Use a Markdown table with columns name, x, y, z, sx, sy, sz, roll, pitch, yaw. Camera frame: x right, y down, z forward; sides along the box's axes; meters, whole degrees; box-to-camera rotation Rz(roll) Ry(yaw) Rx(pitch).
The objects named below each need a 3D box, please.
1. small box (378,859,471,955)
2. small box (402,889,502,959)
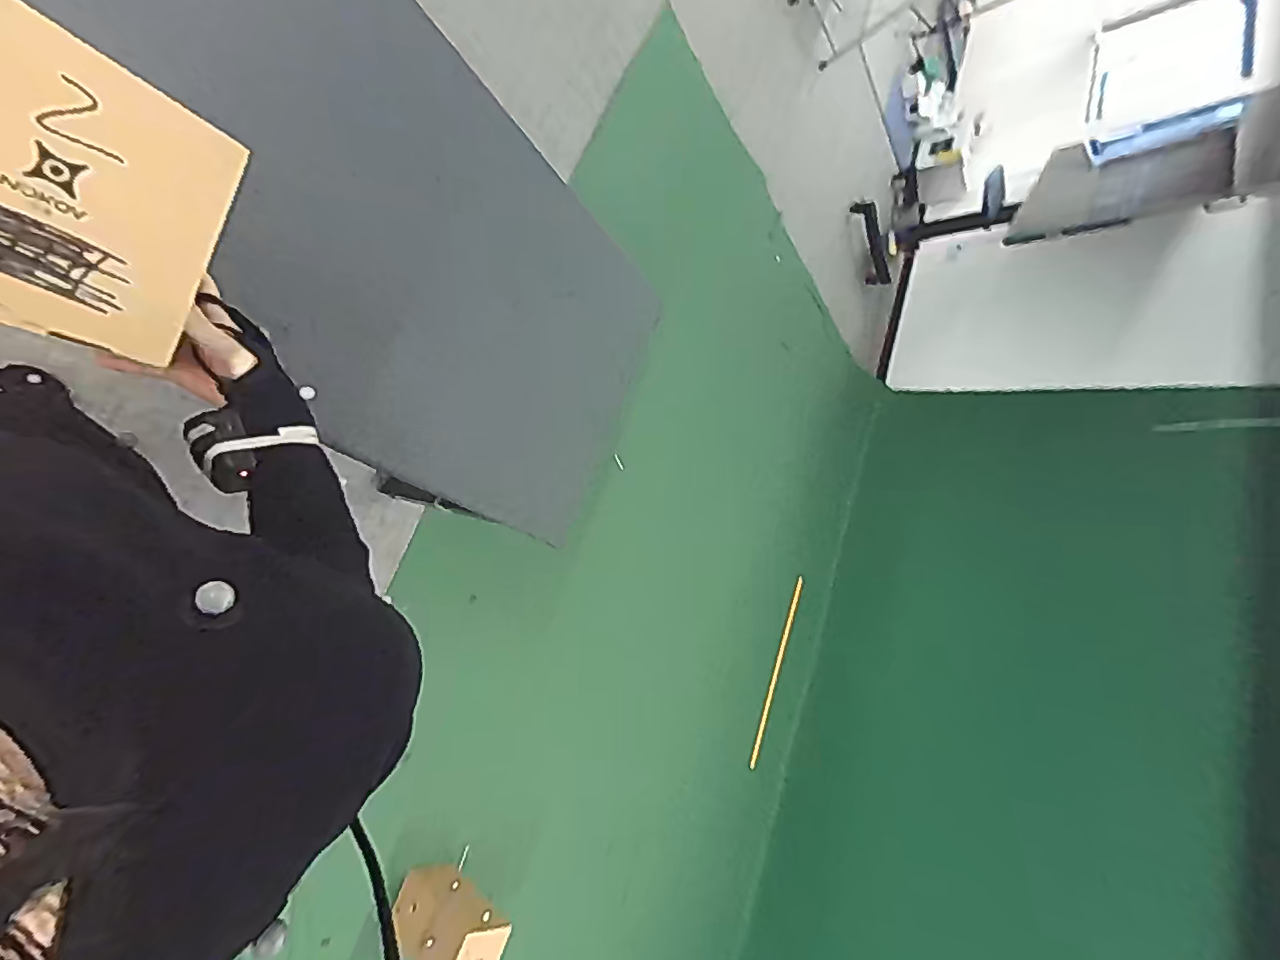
| name | x | y | z | sx | sy | sz | roll | pitch | yaw |
| --- | --- | --- | --- | --- | --- | --- | --- | --- | --- |
| small box | -0.668 | 1.306 | 1.668 | 0.179 | 0.176 | 0.168 | 37 | 68 | -46 |
| small box | -0.543 | 1.320 | 1.561 | 0.179 | 0.176 | 0.168 | 40 | 66 | -44 |
